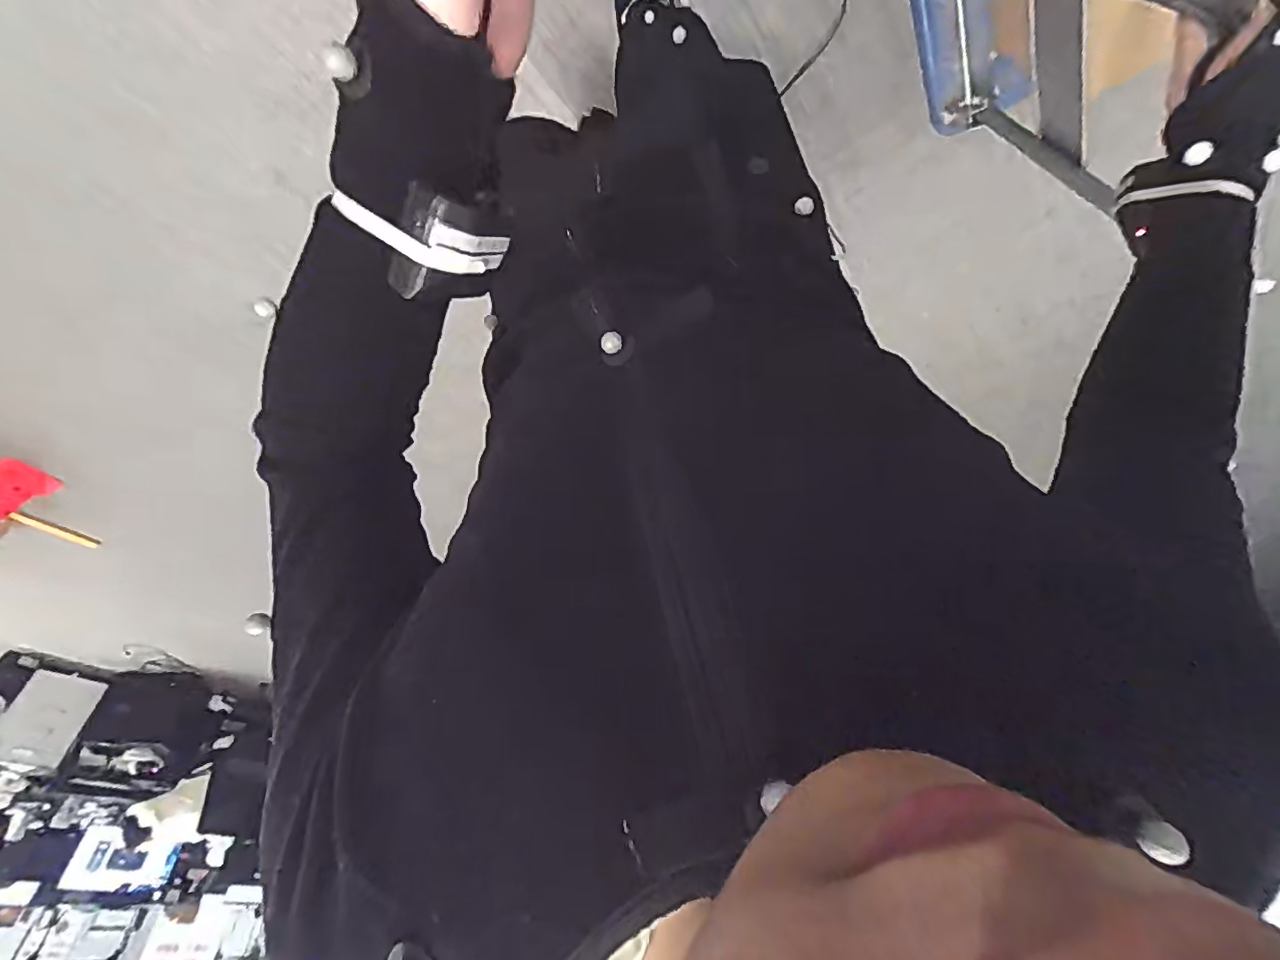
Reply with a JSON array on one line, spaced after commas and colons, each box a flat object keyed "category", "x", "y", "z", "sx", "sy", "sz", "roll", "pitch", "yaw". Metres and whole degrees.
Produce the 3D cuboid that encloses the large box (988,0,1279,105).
[{"category": "large box", "x": 0.744, "y": -0.821, "z": 0.732, "sx": 0.408, "sy": 0.320, "sz": 0.320, "roll": -21, "pitch": 136, "yaw": 23}]
